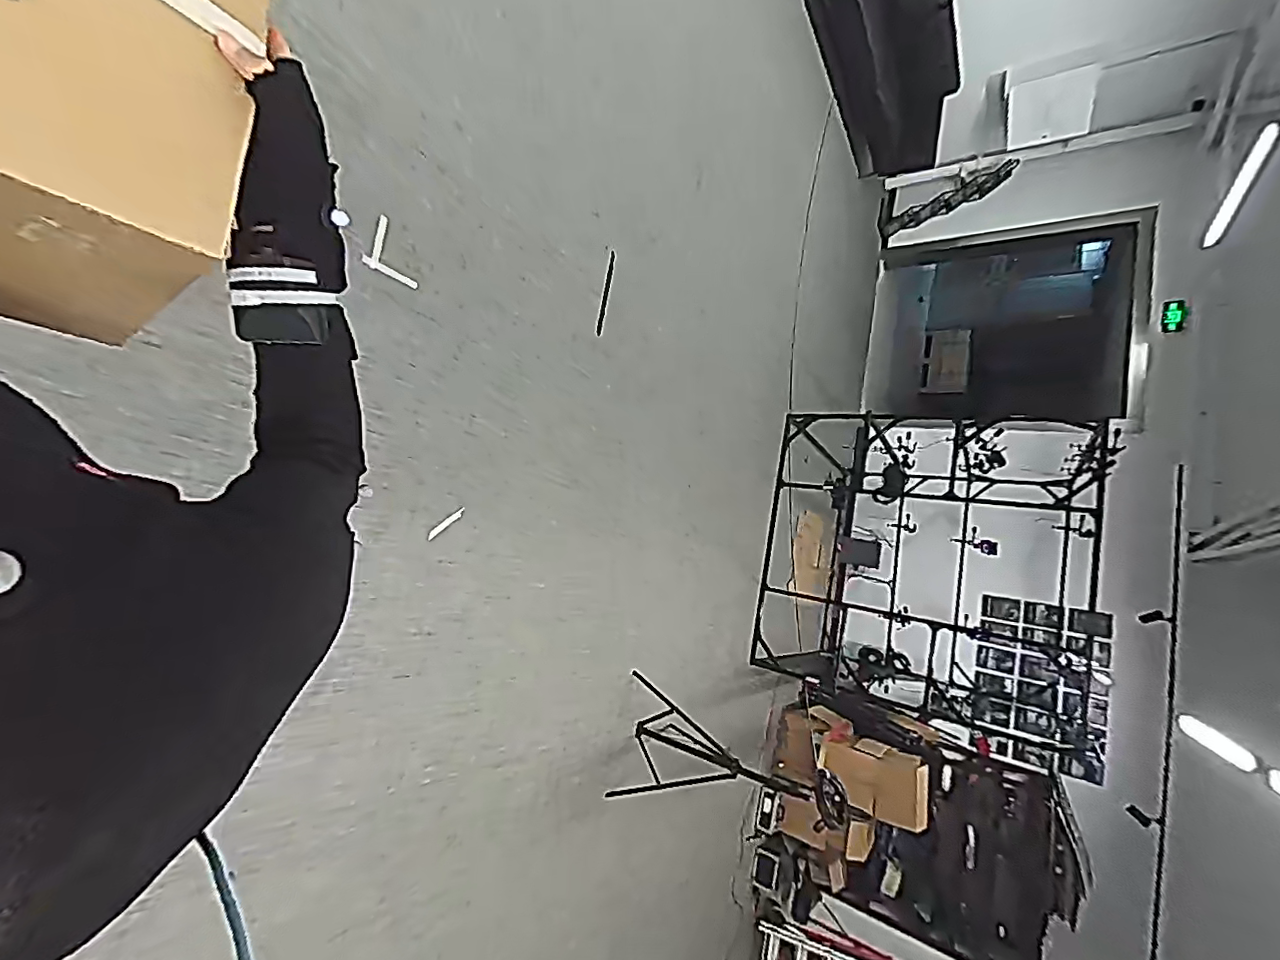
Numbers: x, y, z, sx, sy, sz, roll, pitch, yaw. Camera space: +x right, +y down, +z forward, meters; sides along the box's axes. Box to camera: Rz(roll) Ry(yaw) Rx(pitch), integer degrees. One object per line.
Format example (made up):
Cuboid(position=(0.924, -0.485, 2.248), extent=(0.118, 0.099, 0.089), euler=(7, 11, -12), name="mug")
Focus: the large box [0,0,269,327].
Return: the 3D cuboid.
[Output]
Cuboid(position=(-0.519, -0.335, 0.327), extent=(0.408, 0.320, 0.320), euler=(15, 77, -53), name="large box")
